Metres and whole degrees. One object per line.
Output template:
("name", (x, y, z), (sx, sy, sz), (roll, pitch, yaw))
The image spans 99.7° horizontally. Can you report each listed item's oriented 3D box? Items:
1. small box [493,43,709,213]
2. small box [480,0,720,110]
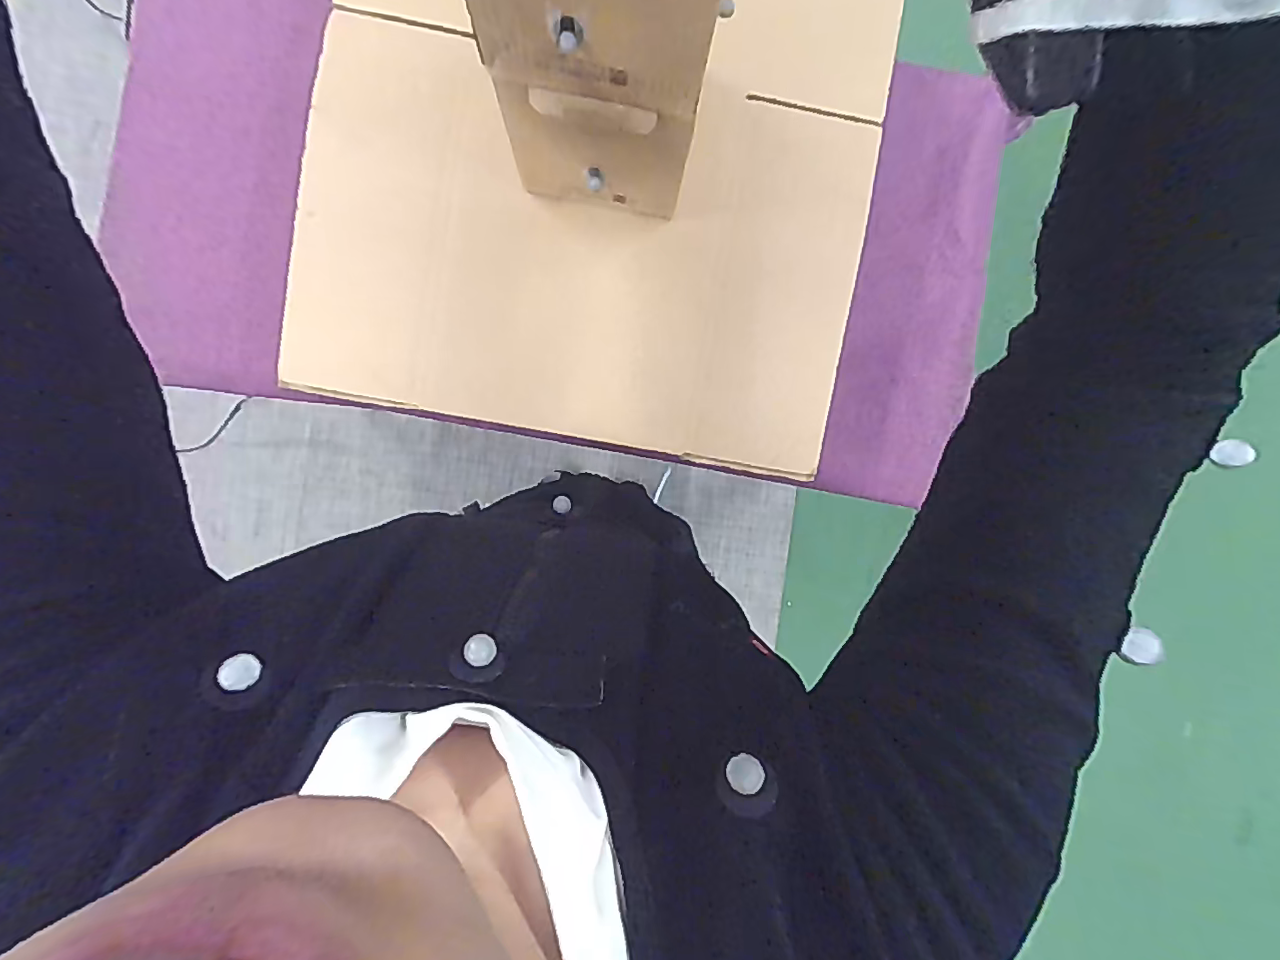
("small box", (-0.025, -0.388, 0.506), (0.168, 0.176, 0.179), (10, 89, -3))
("small box", (-0.017, -0.390, 0.343), (0.168, 0.176, 0.179), (10, 89, -4))
